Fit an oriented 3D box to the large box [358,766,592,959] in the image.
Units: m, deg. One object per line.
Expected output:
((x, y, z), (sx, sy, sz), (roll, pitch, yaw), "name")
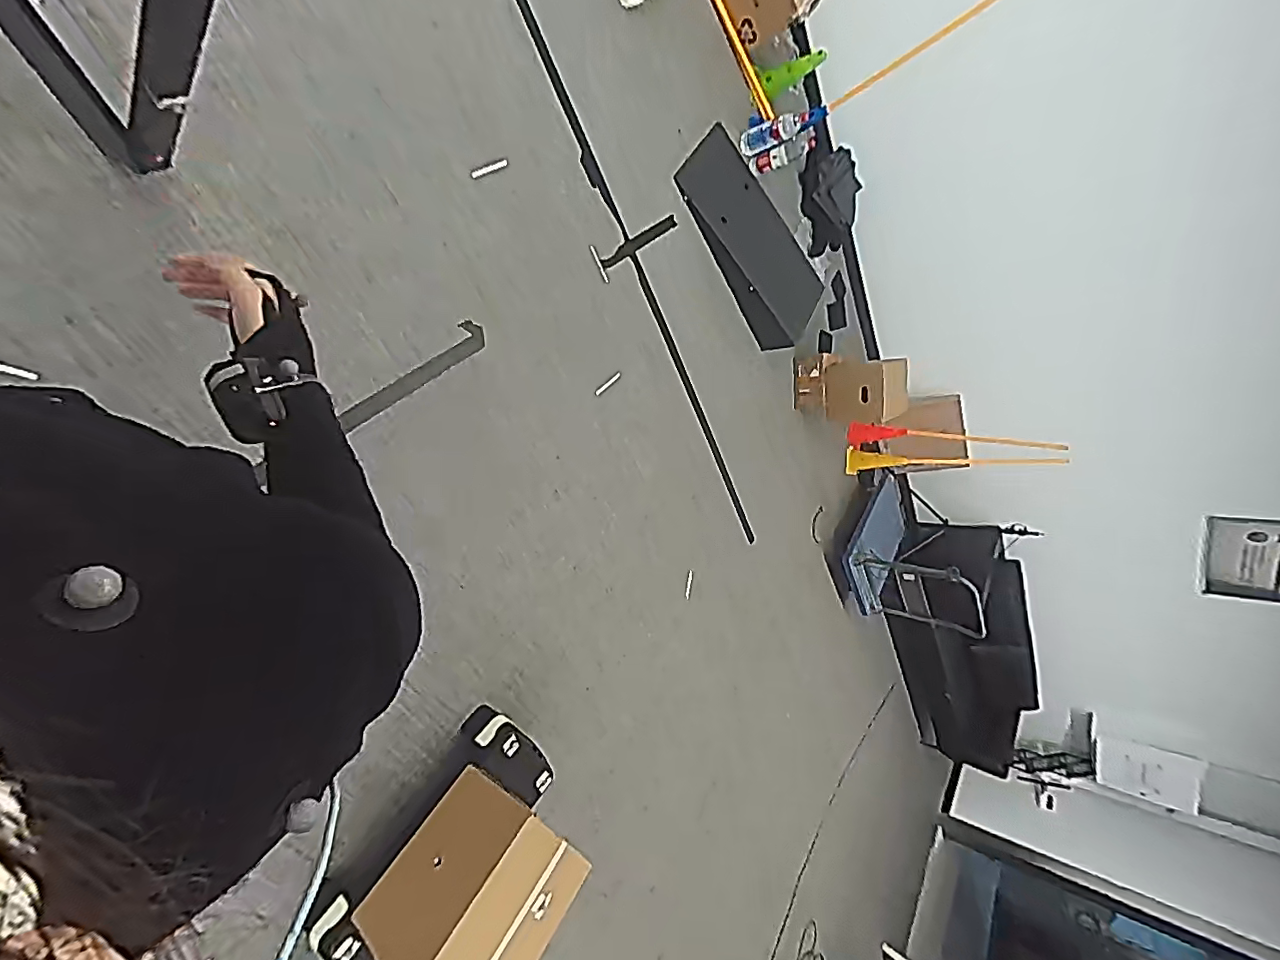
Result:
((-0.403, 1.033, 1.366), (0.408, 0.320, 0.320), (-51, 126, -33), "large box")
